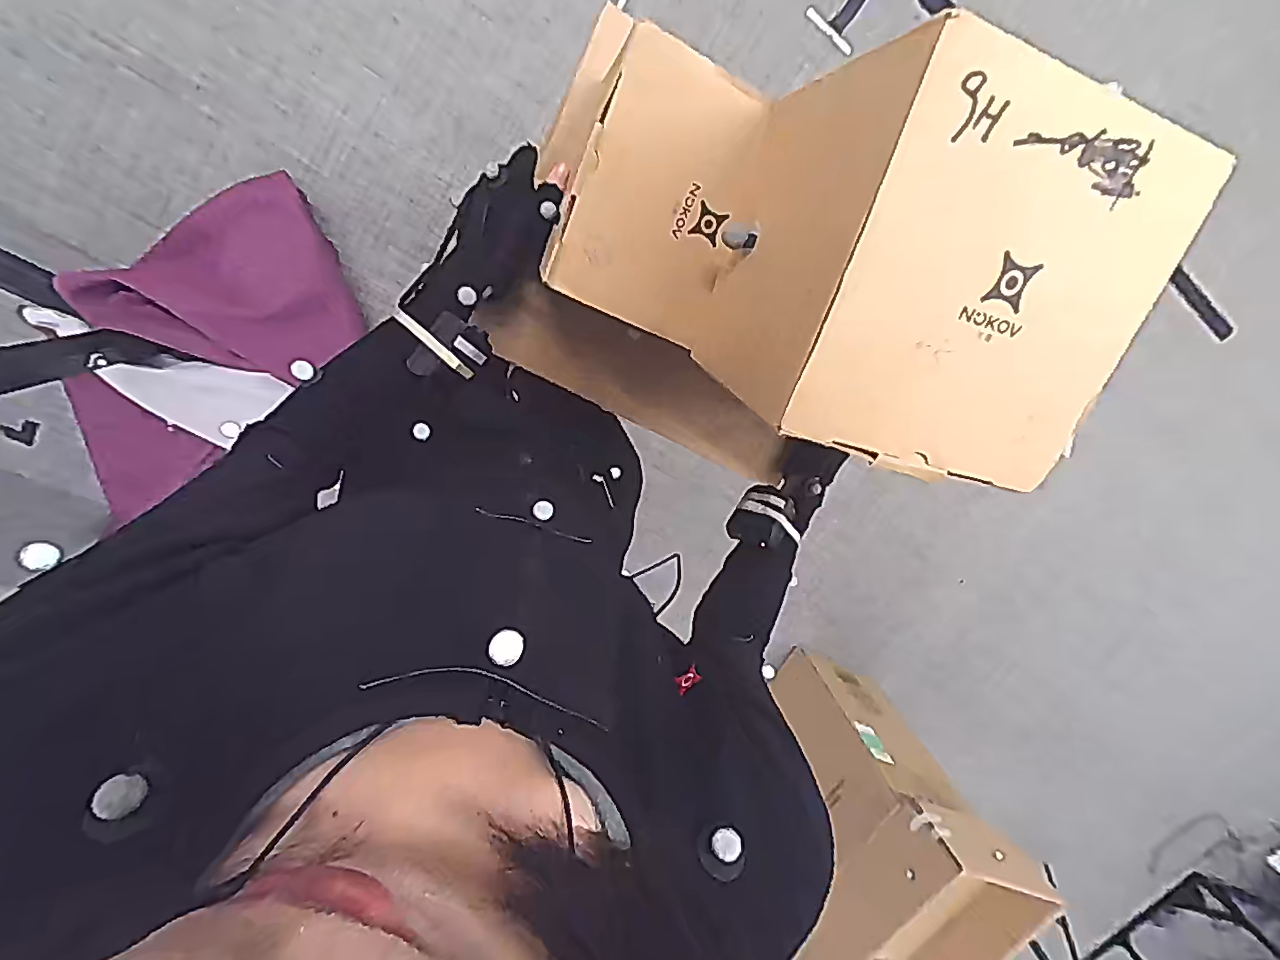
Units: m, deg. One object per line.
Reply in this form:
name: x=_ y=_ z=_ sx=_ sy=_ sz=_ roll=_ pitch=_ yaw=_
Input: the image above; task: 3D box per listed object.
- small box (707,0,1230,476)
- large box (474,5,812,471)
small box: x=0.154 y=-0.128 z=0.326 sx=0.168 sy=0.176 sz=0.179 roll=12 pitch=112 yaw=-16
large box: x=0.042 y=-0.267 z=0.695 sx=0.408 sy=0.320 sz=0.320 roll=23 pitch=109 yaw=-21
